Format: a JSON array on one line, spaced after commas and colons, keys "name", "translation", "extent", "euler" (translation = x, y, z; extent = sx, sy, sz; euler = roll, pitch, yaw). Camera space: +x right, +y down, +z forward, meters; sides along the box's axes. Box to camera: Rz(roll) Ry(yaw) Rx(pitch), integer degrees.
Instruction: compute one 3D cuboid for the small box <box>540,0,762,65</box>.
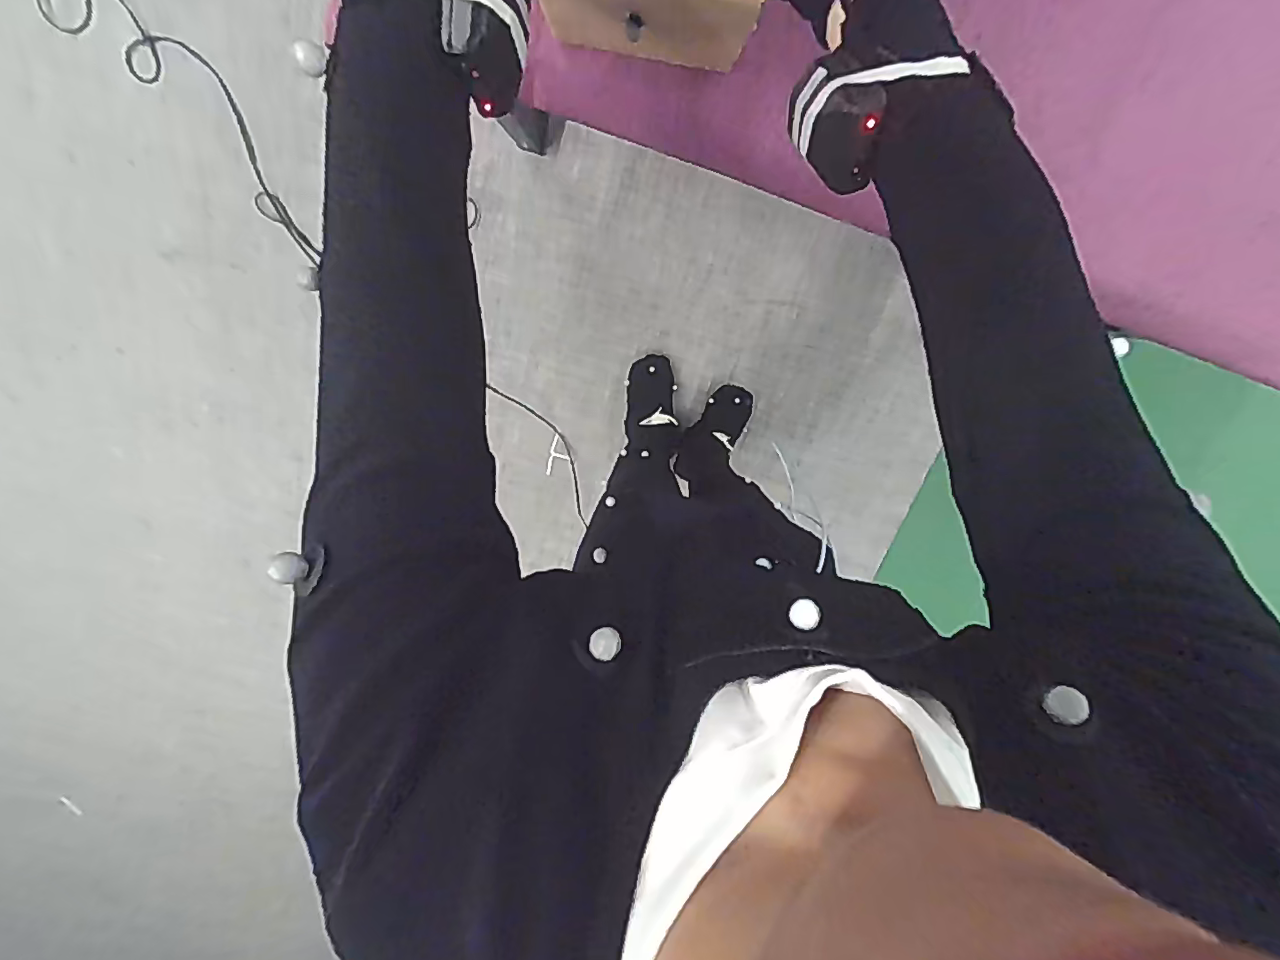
[{"name": "small box", "translation": [0.014, -0.459, 0.426], "extent": [0.179, 0.176, 0.168], "euler": [8, 113, -5]}]
